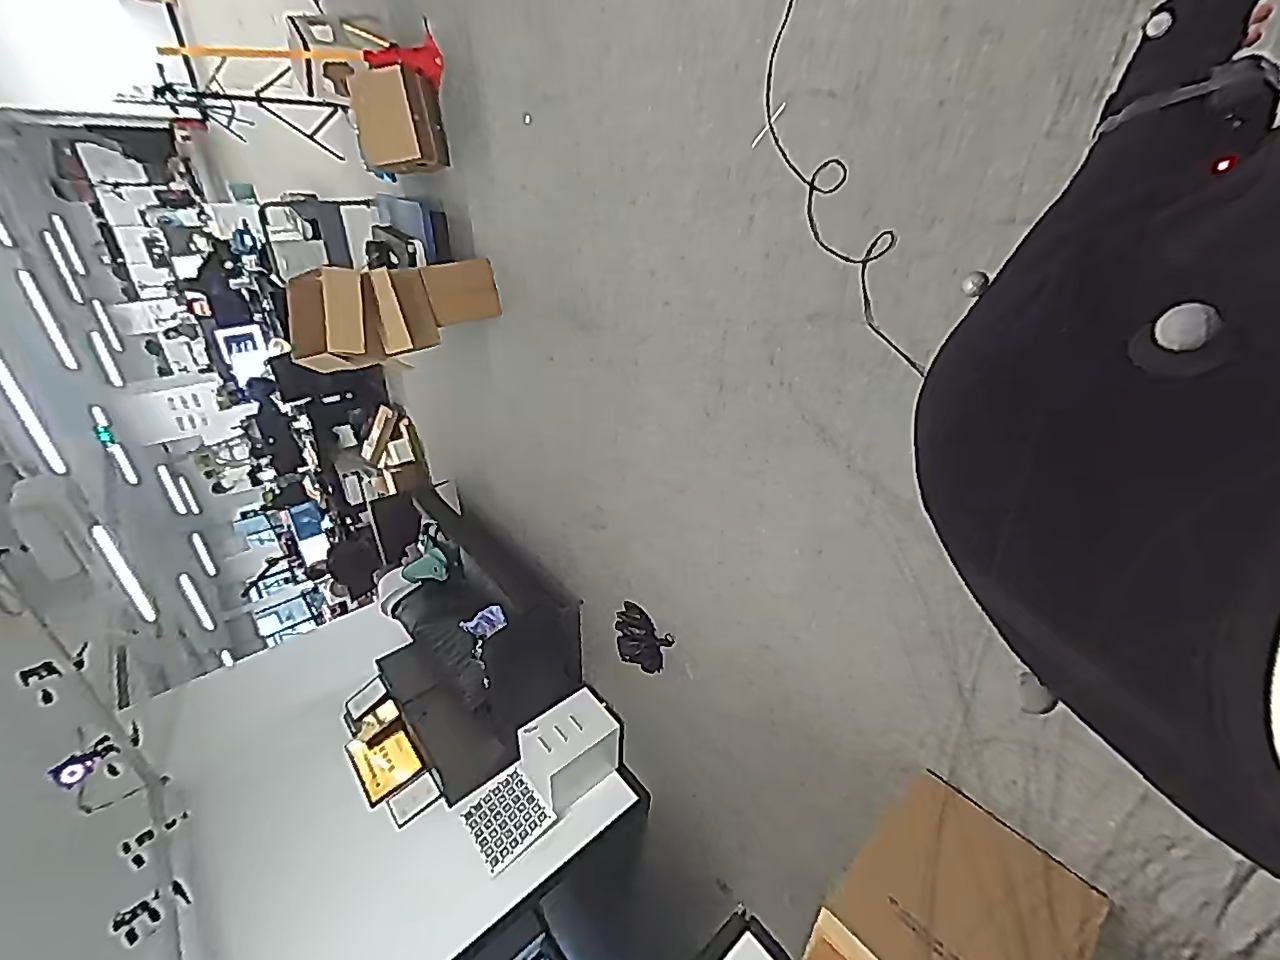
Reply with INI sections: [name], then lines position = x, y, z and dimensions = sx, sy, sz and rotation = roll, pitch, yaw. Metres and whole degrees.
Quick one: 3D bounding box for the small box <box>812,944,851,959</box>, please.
[small box]
position = 0.532, 1.415, 1.458
dimensions = 0.179, 0.176, 0.168
rotation = 20, 123, 46
